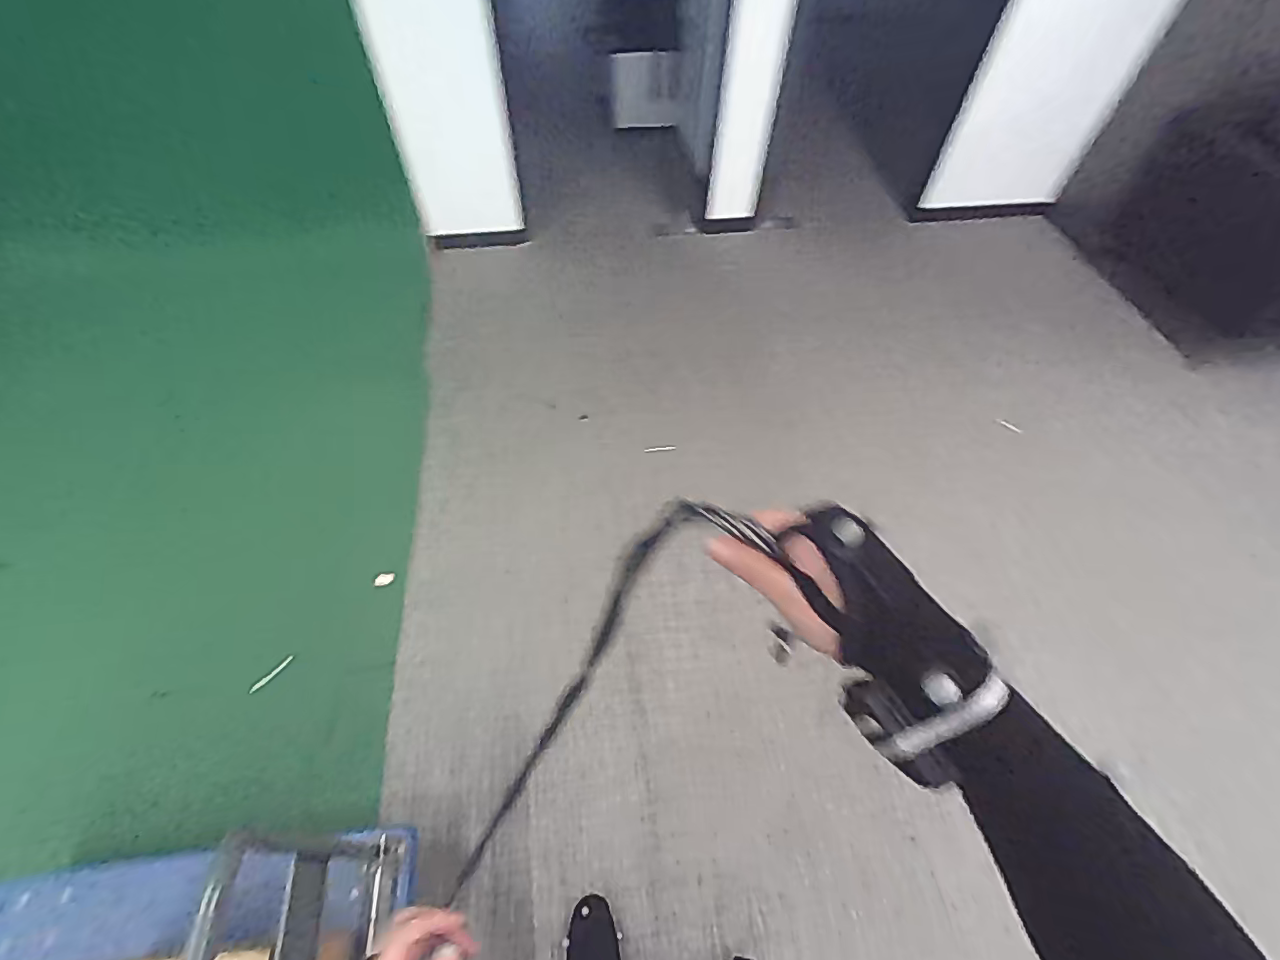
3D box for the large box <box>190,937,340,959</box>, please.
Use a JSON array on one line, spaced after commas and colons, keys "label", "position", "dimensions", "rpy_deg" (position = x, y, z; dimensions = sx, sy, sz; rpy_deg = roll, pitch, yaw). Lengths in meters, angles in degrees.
[{"label": "large box", "position": [-0.759, 0.958, 0.842], "dimensions": [0.408, 0.320, 0.320], "rpy_deg": [-4, 54, -5]}]
